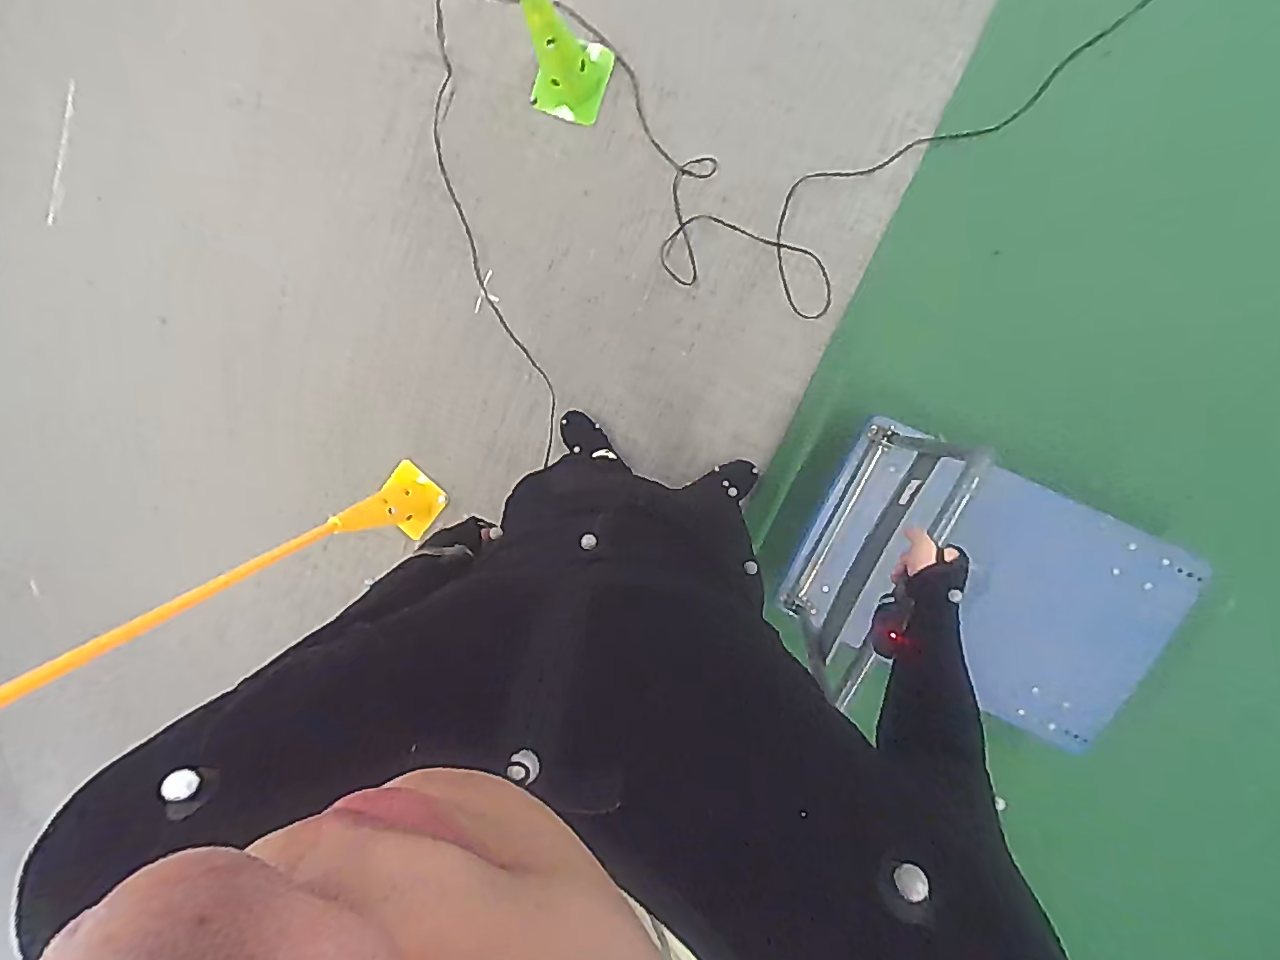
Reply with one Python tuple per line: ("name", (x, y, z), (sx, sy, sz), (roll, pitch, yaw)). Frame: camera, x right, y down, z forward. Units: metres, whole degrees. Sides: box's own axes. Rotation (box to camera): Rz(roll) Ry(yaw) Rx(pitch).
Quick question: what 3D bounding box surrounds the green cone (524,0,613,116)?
("green cone", (-0.215, -1.094, 1.306), (0.200, 0.368, 0.202), (21, 100, 5))
